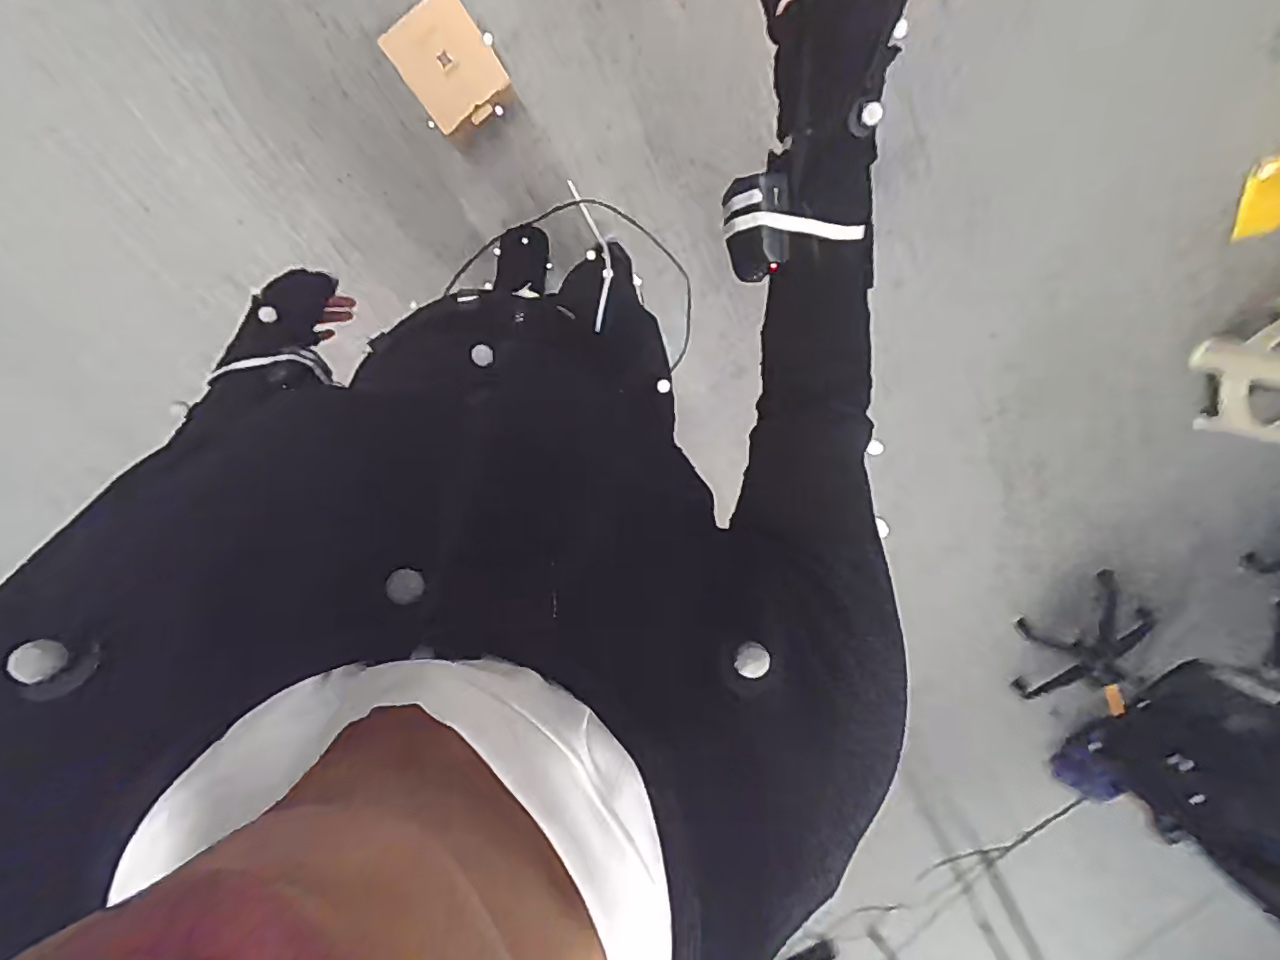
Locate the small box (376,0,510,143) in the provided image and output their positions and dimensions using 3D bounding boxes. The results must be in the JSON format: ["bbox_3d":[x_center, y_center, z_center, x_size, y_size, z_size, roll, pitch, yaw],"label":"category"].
[{"bbox_3d":[-0.366,-0.785,1.047,0.168,0.176,0.179,-35,116,5],"label":"small box"}]
